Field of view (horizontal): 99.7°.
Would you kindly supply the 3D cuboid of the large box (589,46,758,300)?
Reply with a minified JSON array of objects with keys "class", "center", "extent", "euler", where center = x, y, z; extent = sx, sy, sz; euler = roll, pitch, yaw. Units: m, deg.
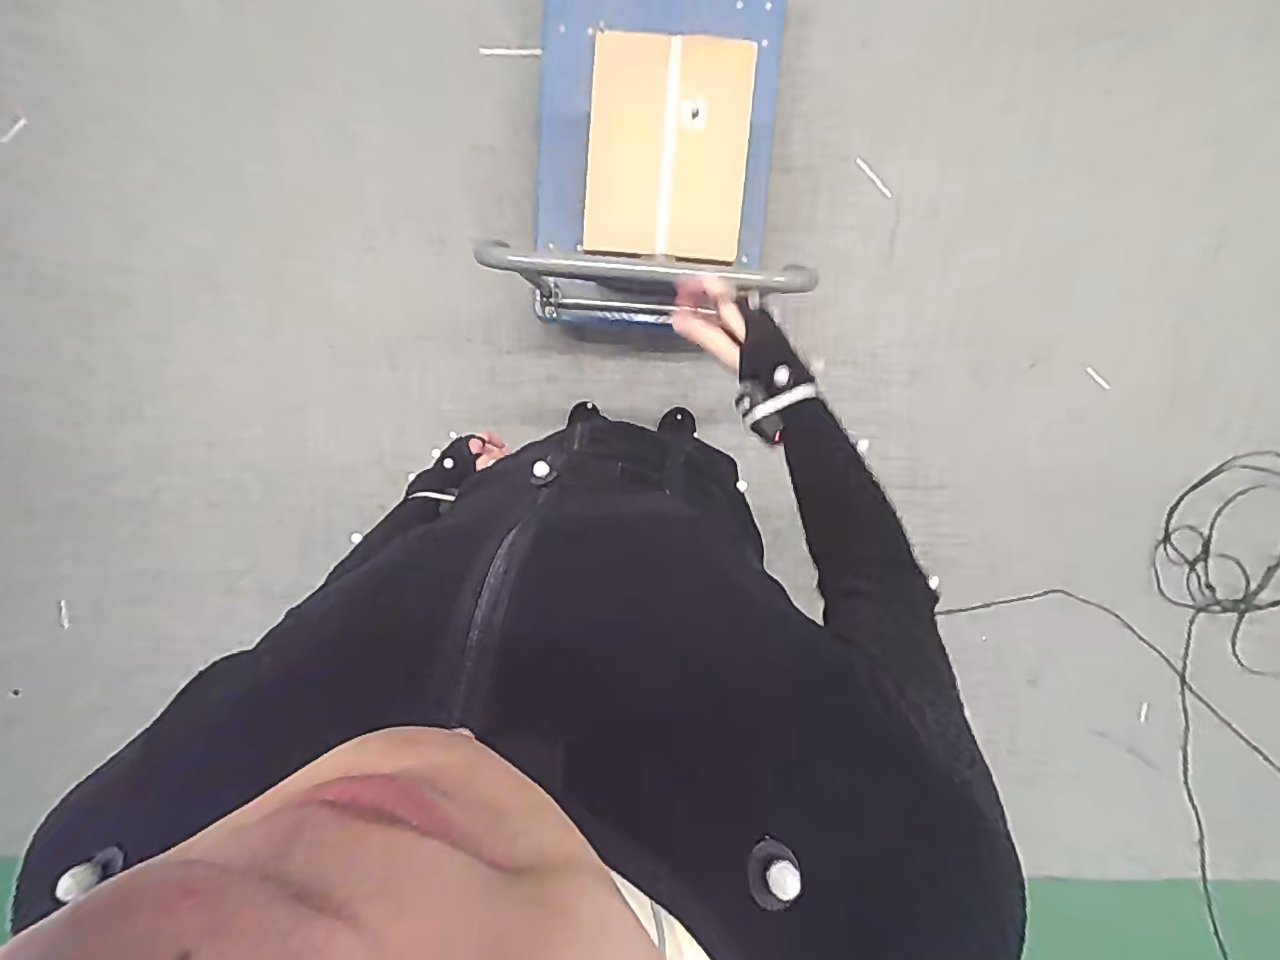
[{"class":"large box","center":[0.065,-0.643,1.206],"extent":[0.320,0.320,0.408],"euler":[5,97,-1]}]
